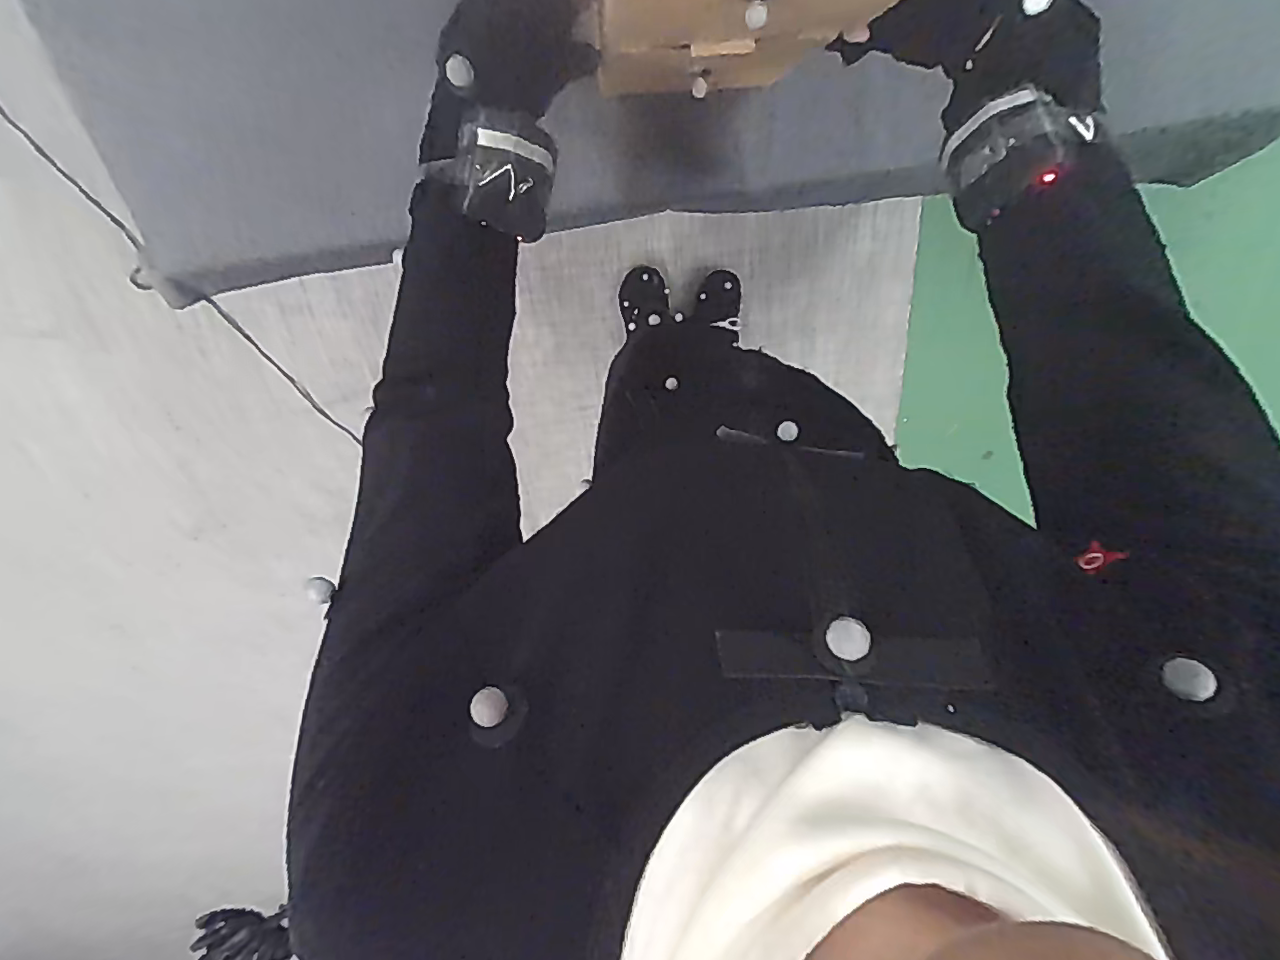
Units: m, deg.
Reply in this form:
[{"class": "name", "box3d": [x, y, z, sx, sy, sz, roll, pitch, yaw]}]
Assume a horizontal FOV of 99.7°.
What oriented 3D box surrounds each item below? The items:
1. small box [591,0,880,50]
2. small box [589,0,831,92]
[{"class": "small box", "box3d": [0.057, -0.332, 0.258, 0.179, 0.176, 0.168, -6, 117, -1]}, {"class": "small box", "box3d": [0.041, -0.408, 0.404, 0.168, 0.176, 0.179, -6, 118, -1]}]
